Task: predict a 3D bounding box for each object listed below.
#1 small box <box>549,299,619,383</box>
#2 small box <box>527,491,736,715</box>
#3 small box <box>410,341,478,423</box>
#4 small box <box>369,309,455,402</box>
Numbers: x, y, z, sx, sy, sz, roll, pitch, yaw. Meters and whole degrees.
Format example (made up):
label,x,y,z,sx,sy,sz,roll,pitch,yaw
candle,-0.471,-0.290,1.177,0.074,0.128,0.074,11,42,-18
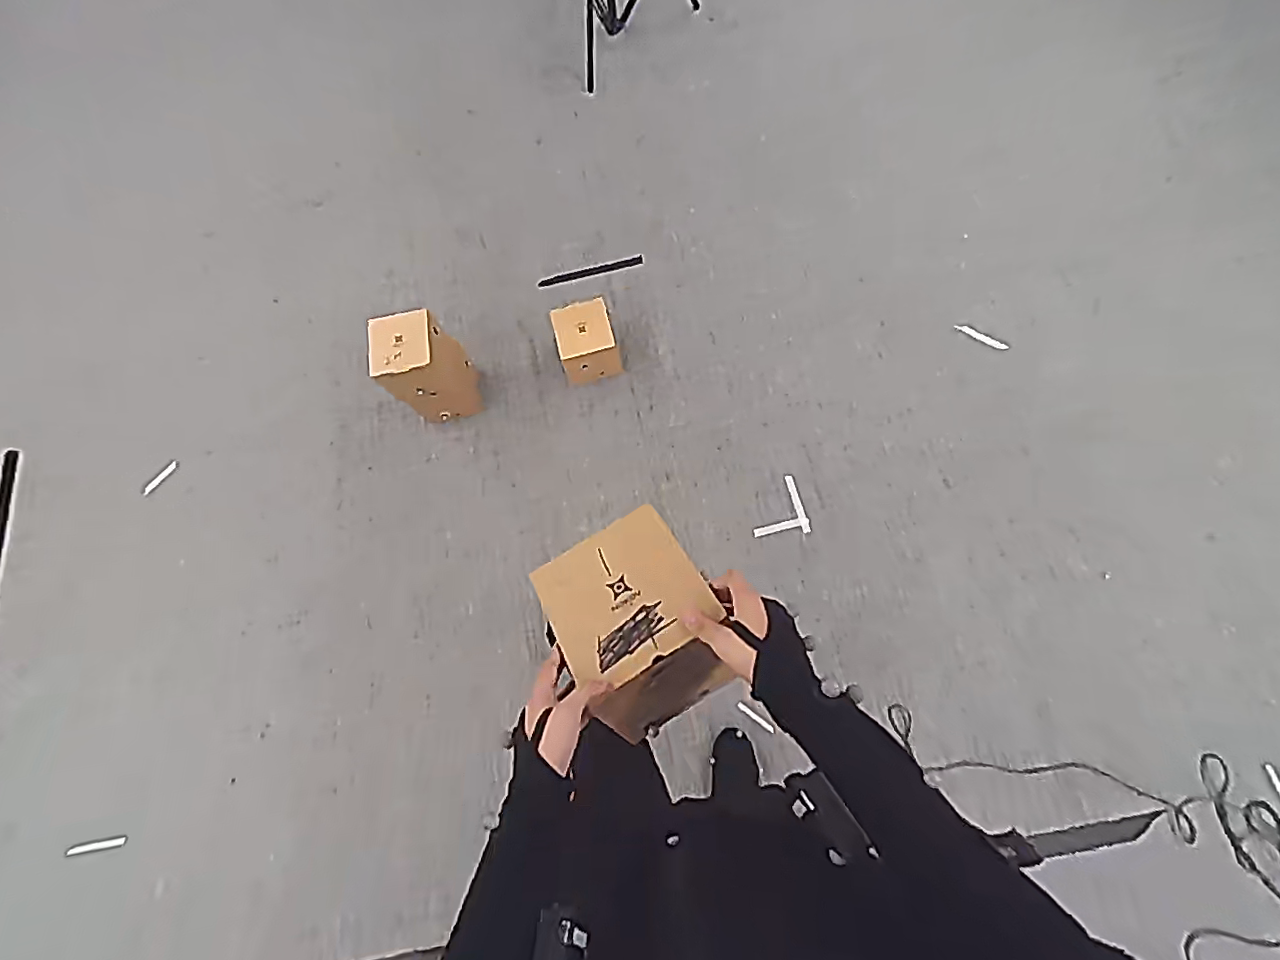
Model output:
label,x,y,z,sx,sy,sz,roll,pitch,yaw
small box,-0.168,-0.418,1.662,0.168,0.176,0.179,-15,71,0
small box,-0.004,0.153,0.638,0.168,0.176,0.179,-30,50,-6
small box,-0.608,-0.296,1.657,0.168,0.176,0.179,-10,72,2
small box,-0.628,-0.340,1.500,0.168,0.176,0.179,-11,73,2
